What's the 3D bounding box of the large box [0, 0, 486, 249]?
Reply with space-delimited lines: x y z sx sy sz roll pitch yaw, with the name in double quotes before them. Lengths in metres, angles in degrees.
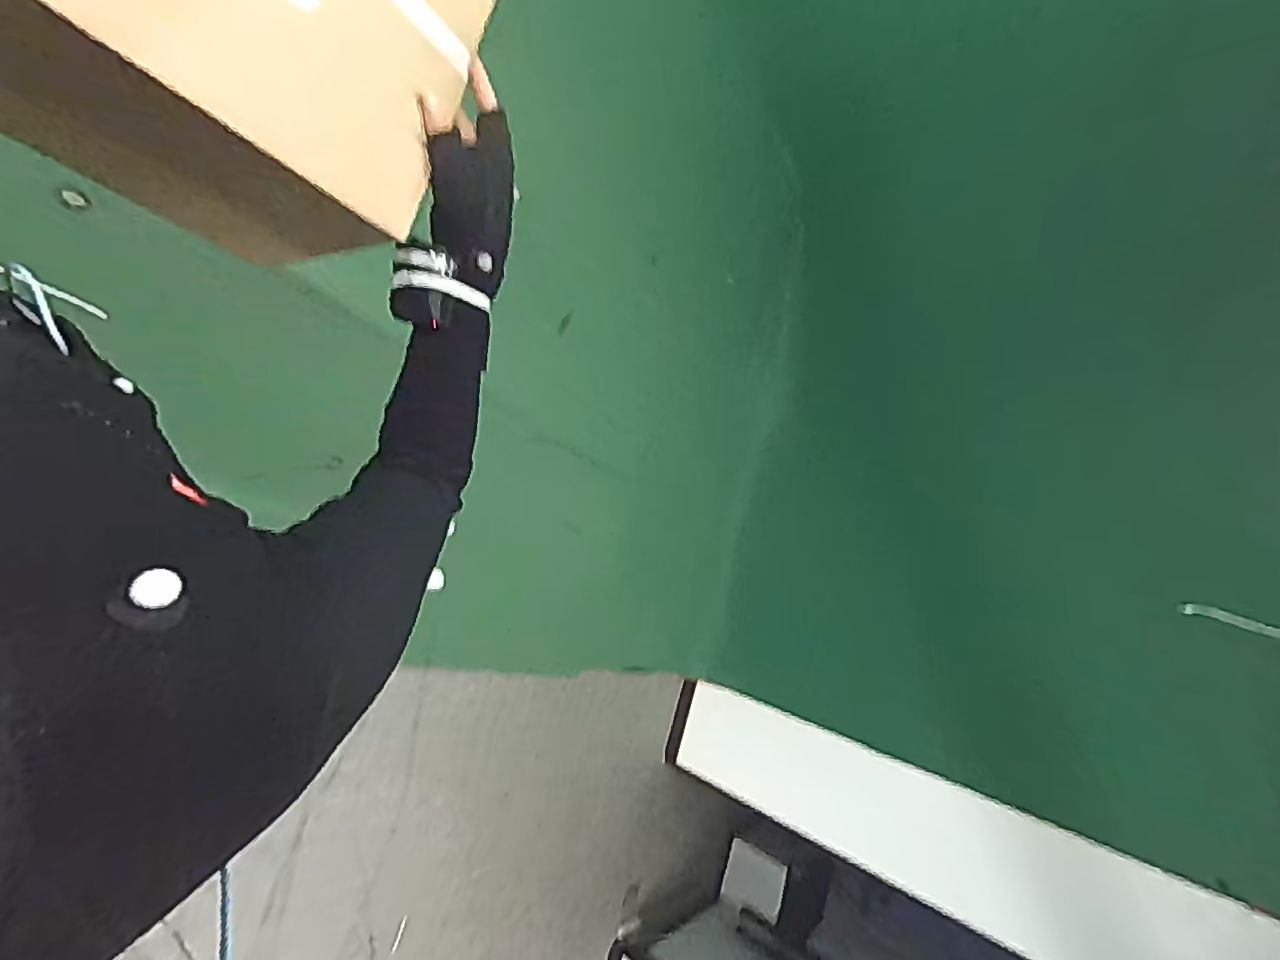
"large box" -0.375 -0.425 0.383 0.408 0.320 0.320 24 82 -52
